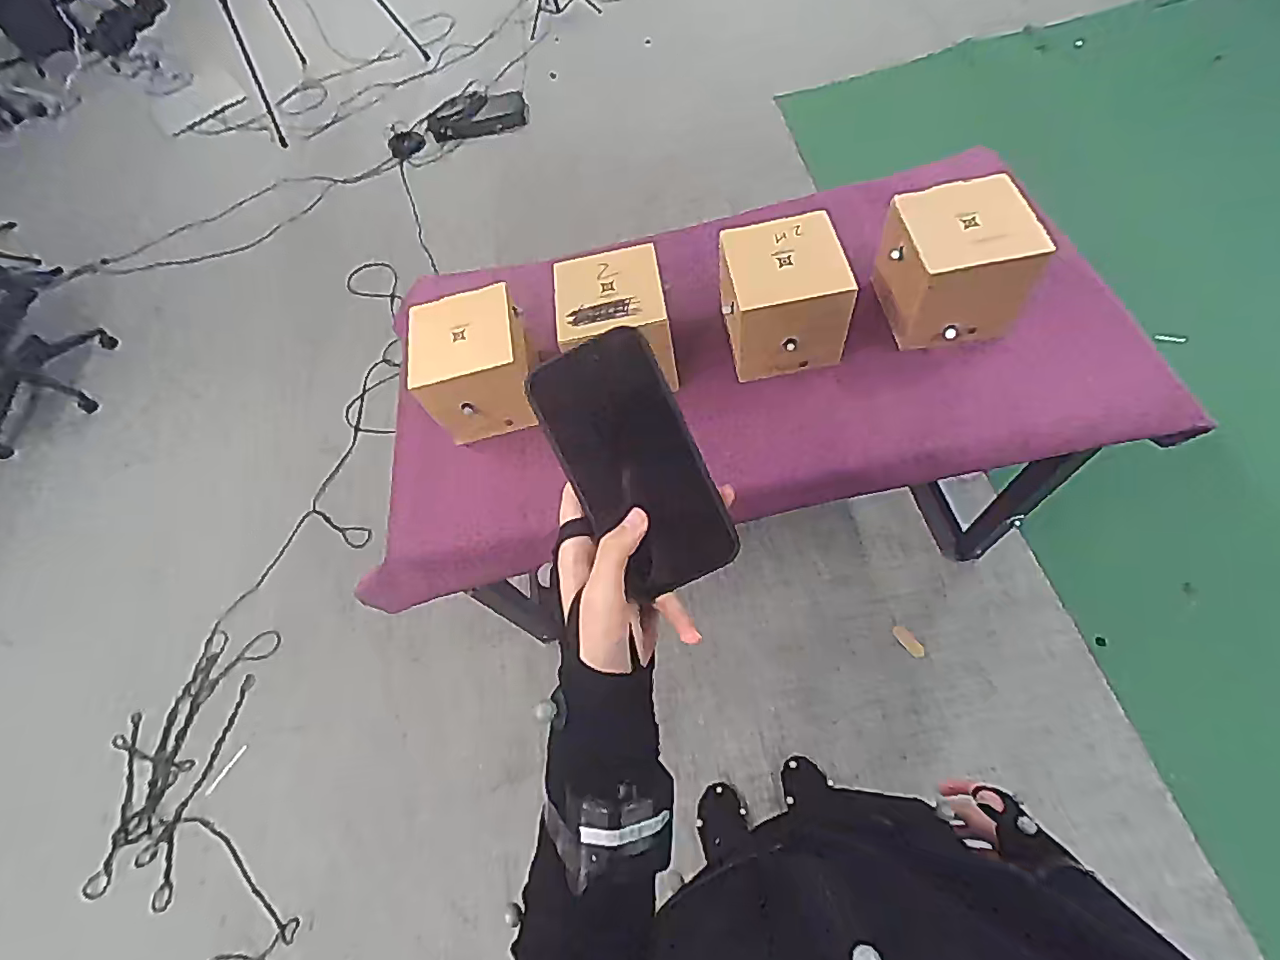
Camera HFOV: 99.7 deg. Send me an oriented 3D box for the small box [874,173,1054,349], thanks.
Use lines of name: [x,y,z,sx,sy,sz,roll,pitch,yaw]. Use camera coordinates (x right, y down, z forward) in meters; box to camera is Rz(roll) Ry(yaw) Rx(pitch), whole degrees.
small box: [0.481,-0.333,0.839,0.168,0.176,0.179,-8,61,7]

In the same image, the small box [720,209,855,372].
small box: [0.225,-0.290,0.862,0.168,0.176,0.179,-9,61,5]

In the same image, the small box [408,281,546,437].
small box: [-0.264,-0.191,0.901,0.168,0.176,0.179,-15,60,3]
